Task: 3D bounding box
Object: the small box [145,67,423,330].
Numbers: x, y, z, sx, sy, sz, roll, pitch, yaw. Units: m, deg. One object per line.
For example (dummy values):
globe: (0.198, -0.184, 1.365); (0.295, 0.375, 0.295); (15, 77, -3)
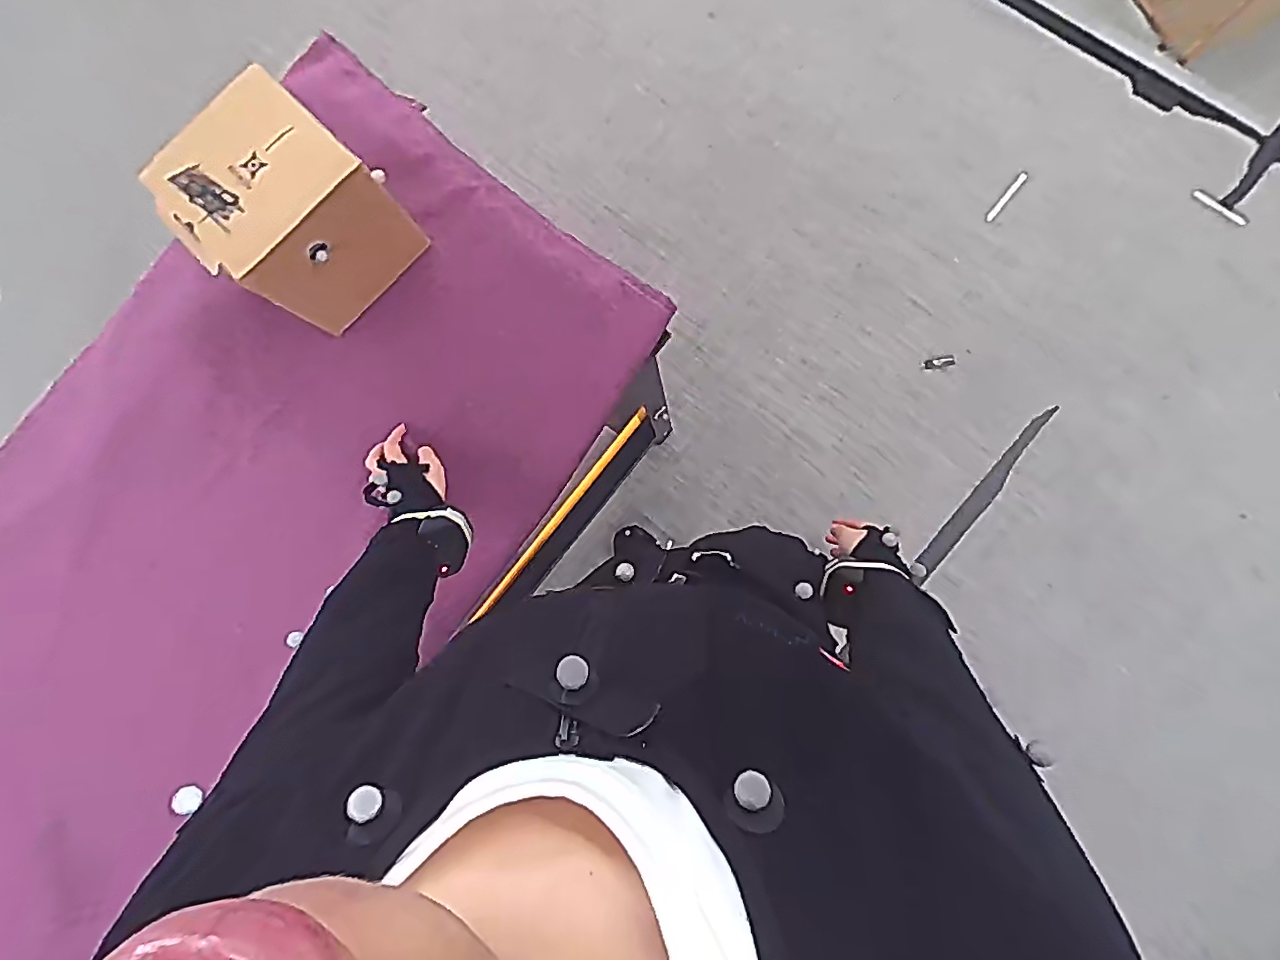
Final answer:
small box: (-0.396, -0.309, 0.636); (0.168, 0.176, 0.179); (45, 89, 5)
